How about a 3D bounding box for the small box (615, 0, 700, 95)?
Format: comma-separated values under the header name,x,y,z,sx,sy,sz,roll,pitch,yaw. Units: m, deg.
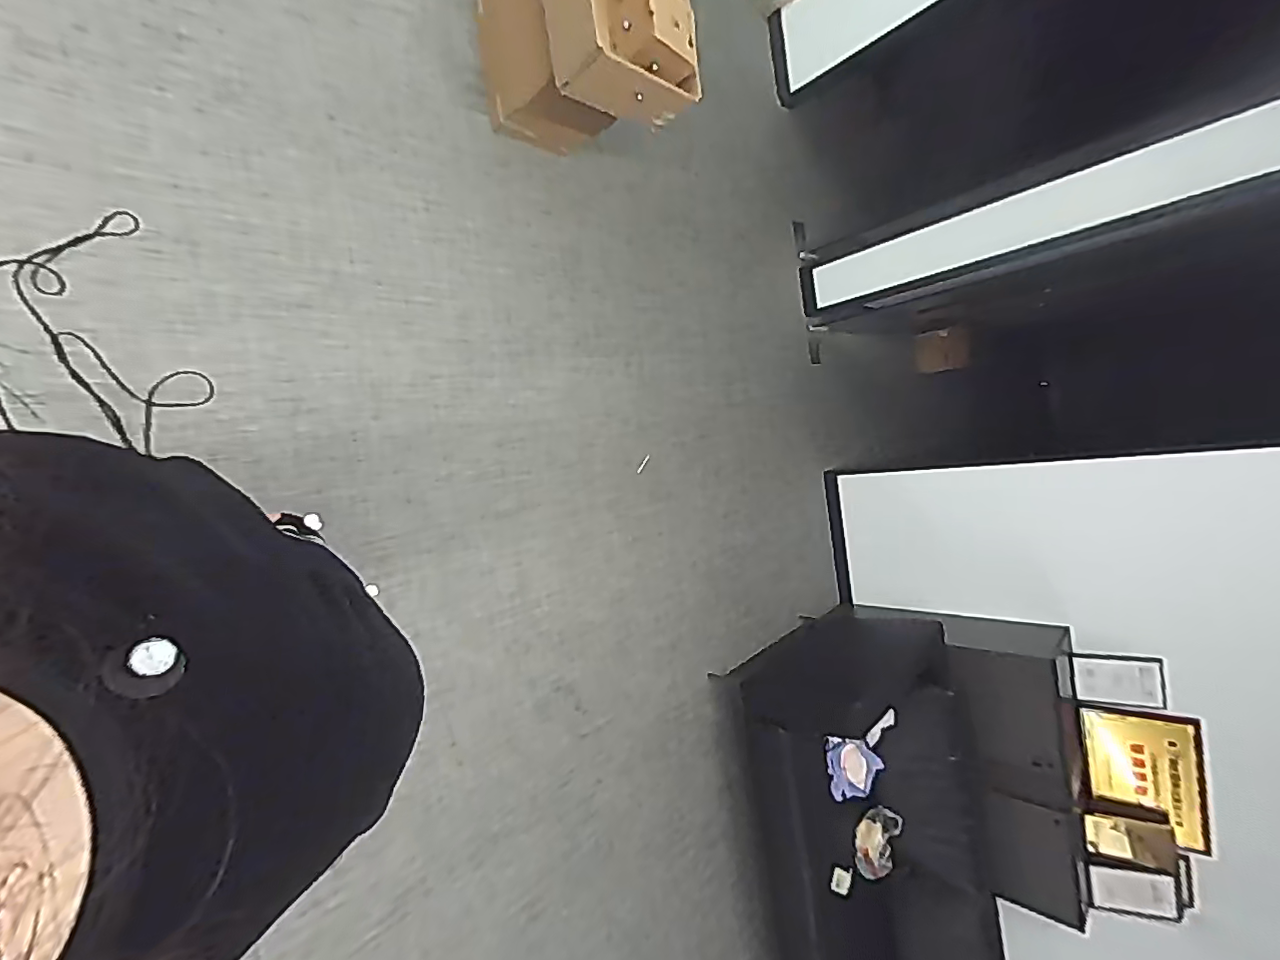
name,x,y,z,sx,sy,sz,roll,pitch,yaw
small box,0.043,-1.221,1.502,0.179,0.176,0.168,-3,89,-42
